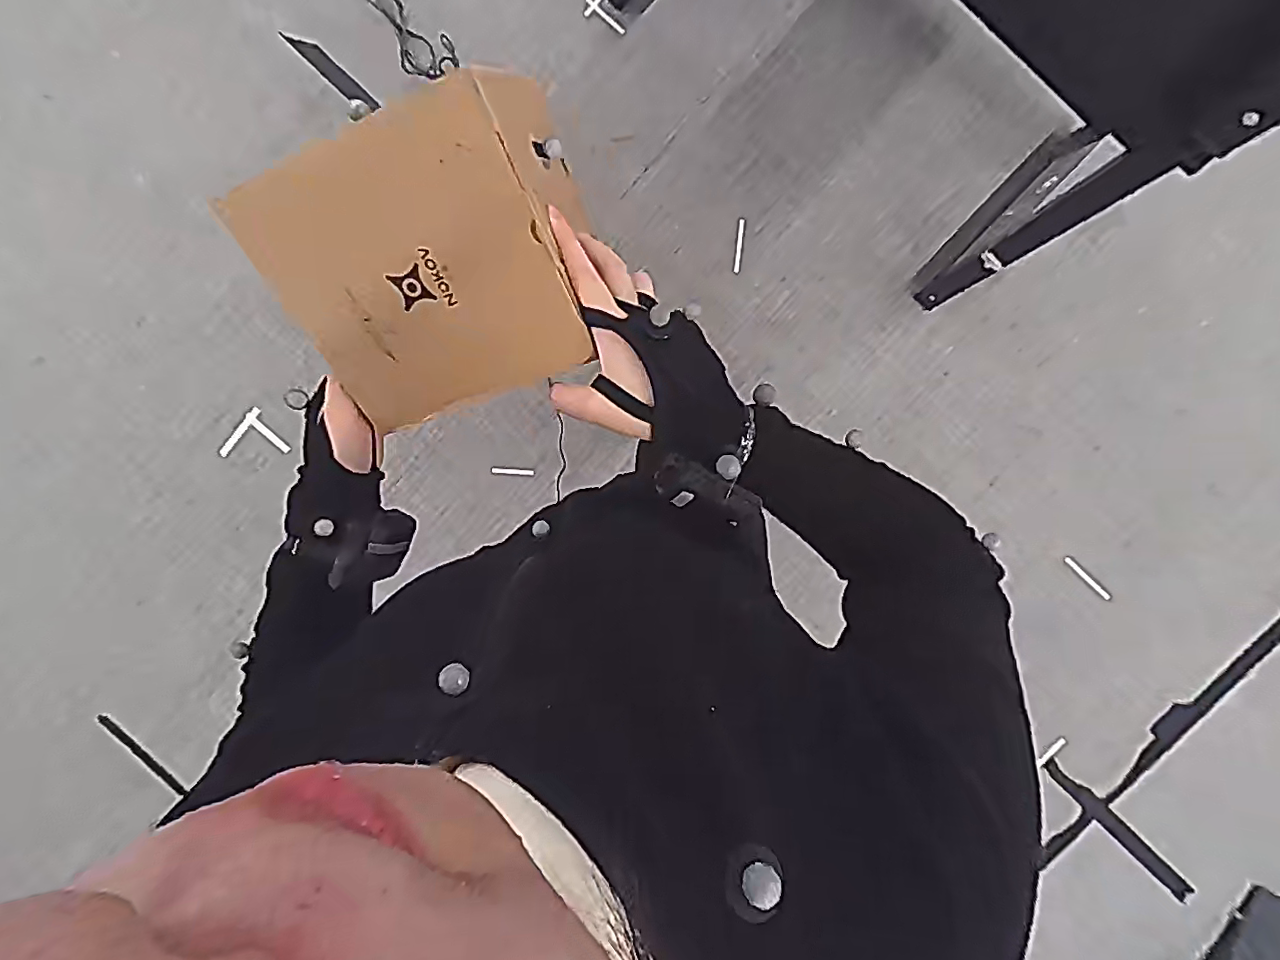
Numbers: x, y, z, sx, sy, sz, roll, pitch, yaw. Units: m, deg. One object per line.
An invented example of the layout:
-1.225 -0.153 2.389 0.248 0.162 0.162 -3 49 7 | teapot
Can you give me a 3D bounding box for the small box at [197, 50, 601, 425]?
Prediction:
-0.135 -0.169 0.384 0.179 0.176 0.168 -16 122 13 | small box
